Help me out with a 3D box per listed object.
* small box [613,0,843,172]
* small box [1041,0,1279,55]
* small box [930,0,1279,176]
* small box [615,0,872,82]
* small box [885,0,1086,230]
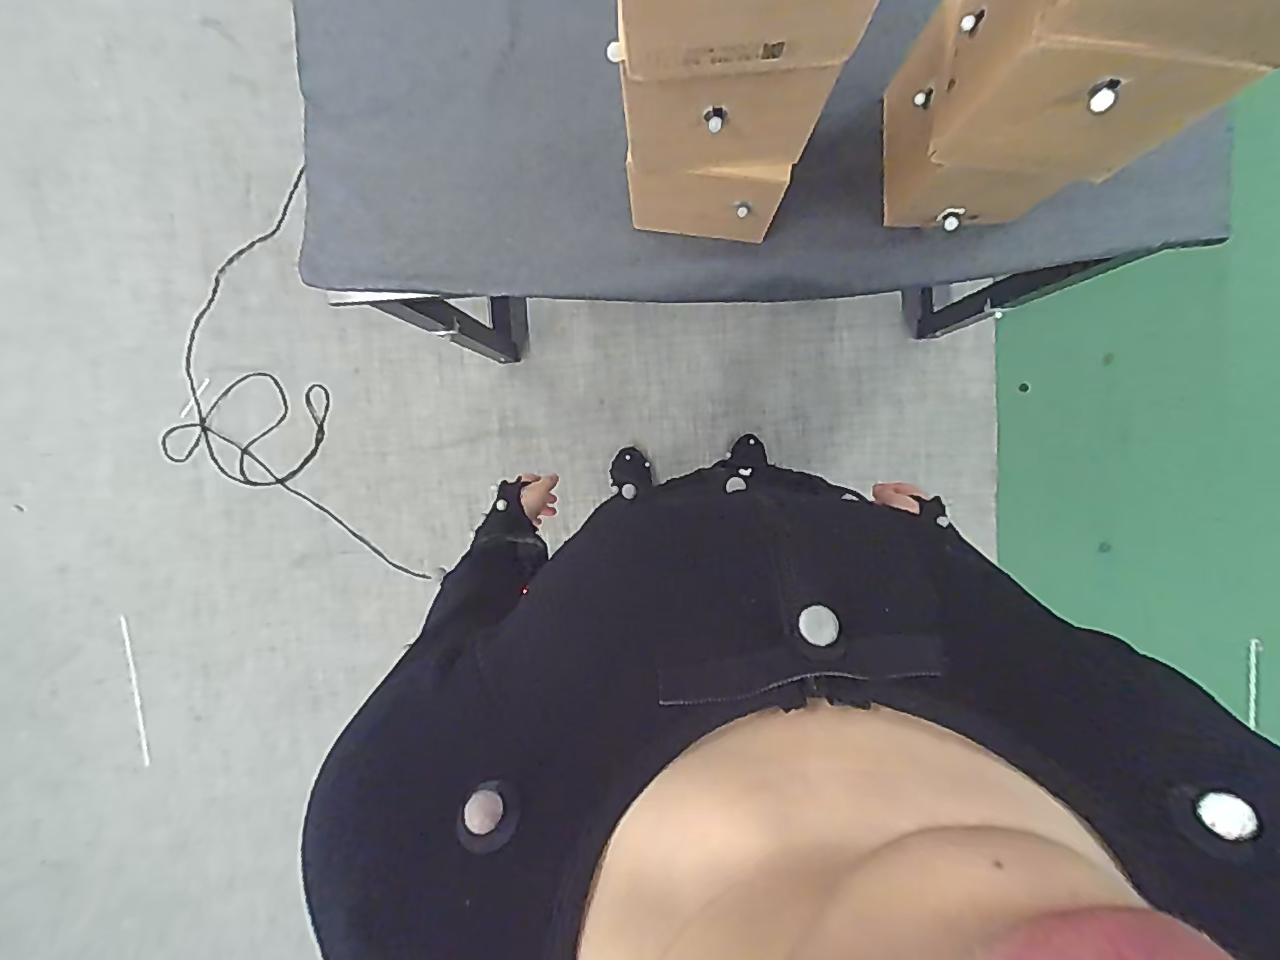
[{"bbox_3d":[0.069,-0.400,0.479,0.179,0.176,0.168,-2,93,4],"label":"small box"},{"bbox_3d":[0.379,-0.382,0.299,0.179,0.176,0.168,11,93,4],"label":"small box"},{"bbox_3d":[0.387,-0.389,0.463,0.179,0.176,0.168,9,94,4],"label":"small box"},{"bbox_3d":[0.062,-0.381,0.316,0.168,0.176,0.179,-3,92,3],"label":"small box"},{"bbox_3d":[0.397,-0.413,0.624,0.168,0.176,0.179,-2,93,4],"label":"small box"}]
